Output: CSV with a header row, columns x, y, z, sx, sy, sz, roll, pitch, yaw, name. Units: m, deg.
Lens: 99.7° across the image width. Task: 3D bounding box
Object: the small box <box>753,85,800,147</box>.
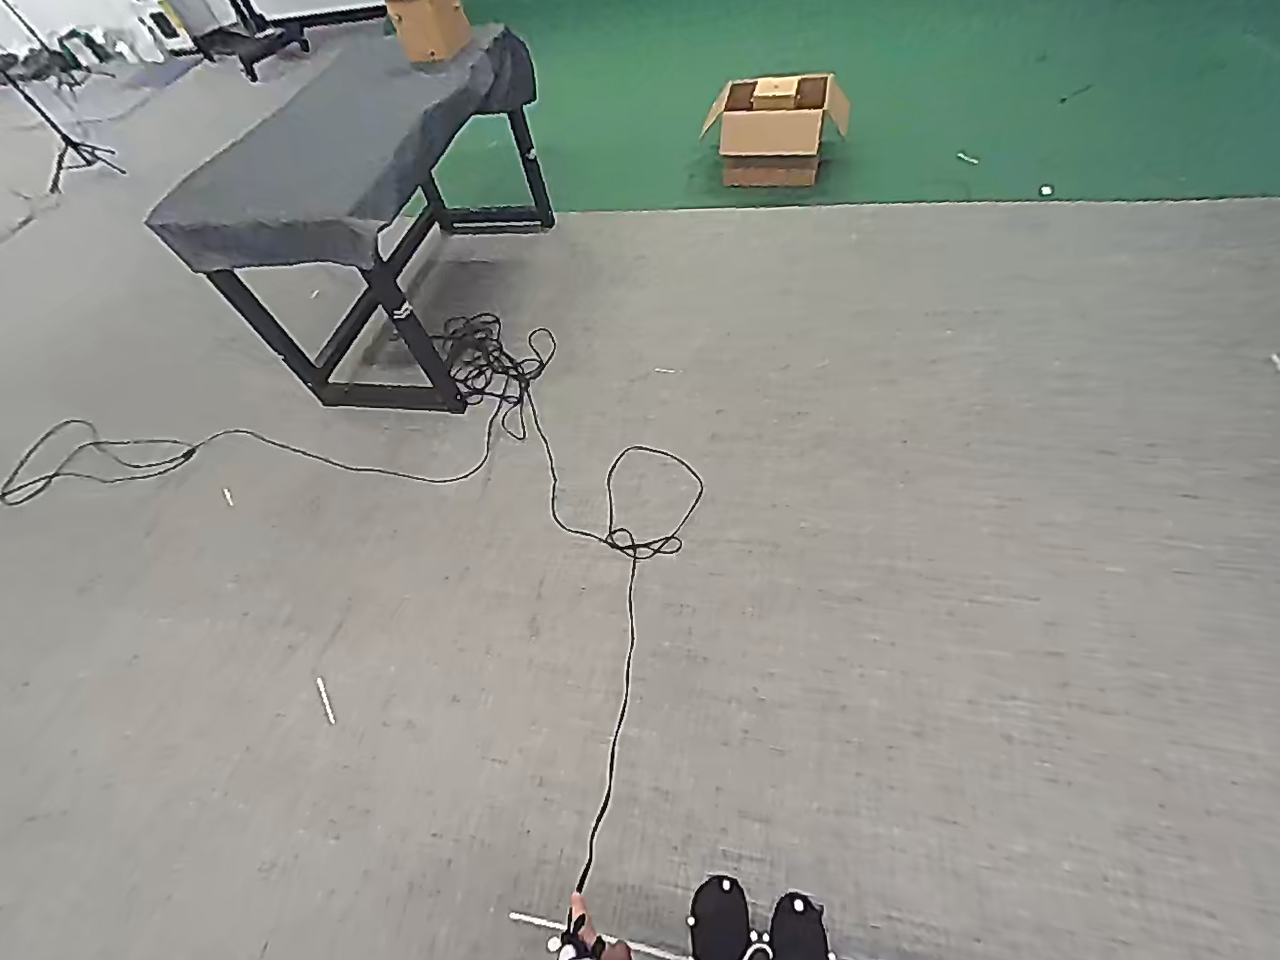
x,y,z,sx,sy,sz,roll,pitch,yaw,name
0.573,-1.537,2.280,0.168,0.176,0.179,9,57,14,small box
